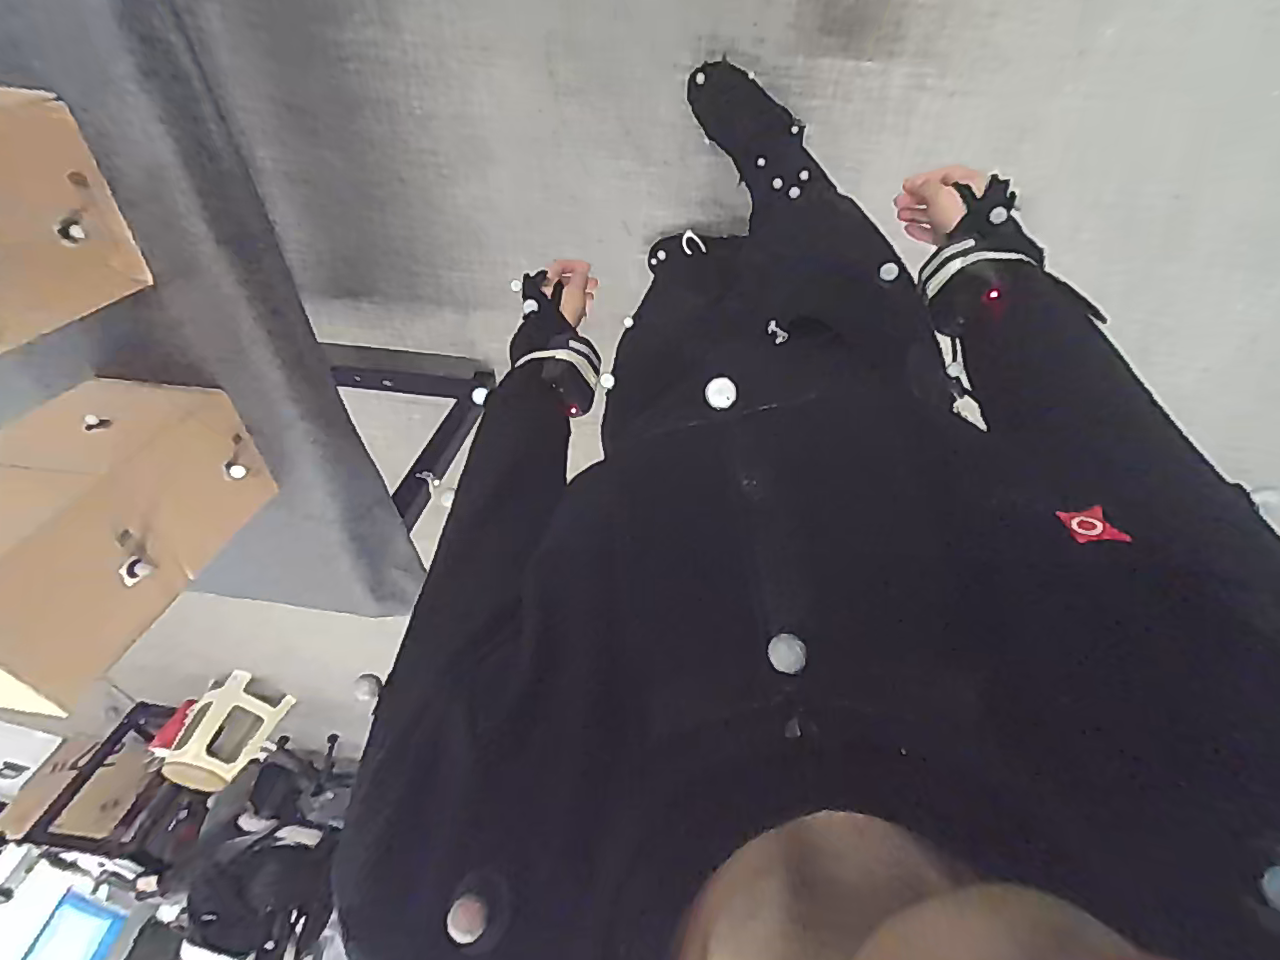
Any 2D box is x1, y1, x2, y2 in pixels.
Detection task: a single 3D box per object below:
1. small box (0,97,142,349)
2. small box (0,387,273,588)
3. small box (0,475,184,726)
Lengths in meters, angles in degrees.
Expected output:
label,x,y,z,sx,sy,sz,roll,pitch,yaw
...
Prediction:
label,x,y,z,sx,sy,sz,roll,pitch,yaw
small box,-0.599,-0.222,0.455,0.179,0.176,0.168,8,130,2
small box,-0.595,0.004,0.643,0.179,0.176,0.168,5,131,4
small box,-0.612,0.108,0.520,0.179,0.176,0.168,4,132,4
